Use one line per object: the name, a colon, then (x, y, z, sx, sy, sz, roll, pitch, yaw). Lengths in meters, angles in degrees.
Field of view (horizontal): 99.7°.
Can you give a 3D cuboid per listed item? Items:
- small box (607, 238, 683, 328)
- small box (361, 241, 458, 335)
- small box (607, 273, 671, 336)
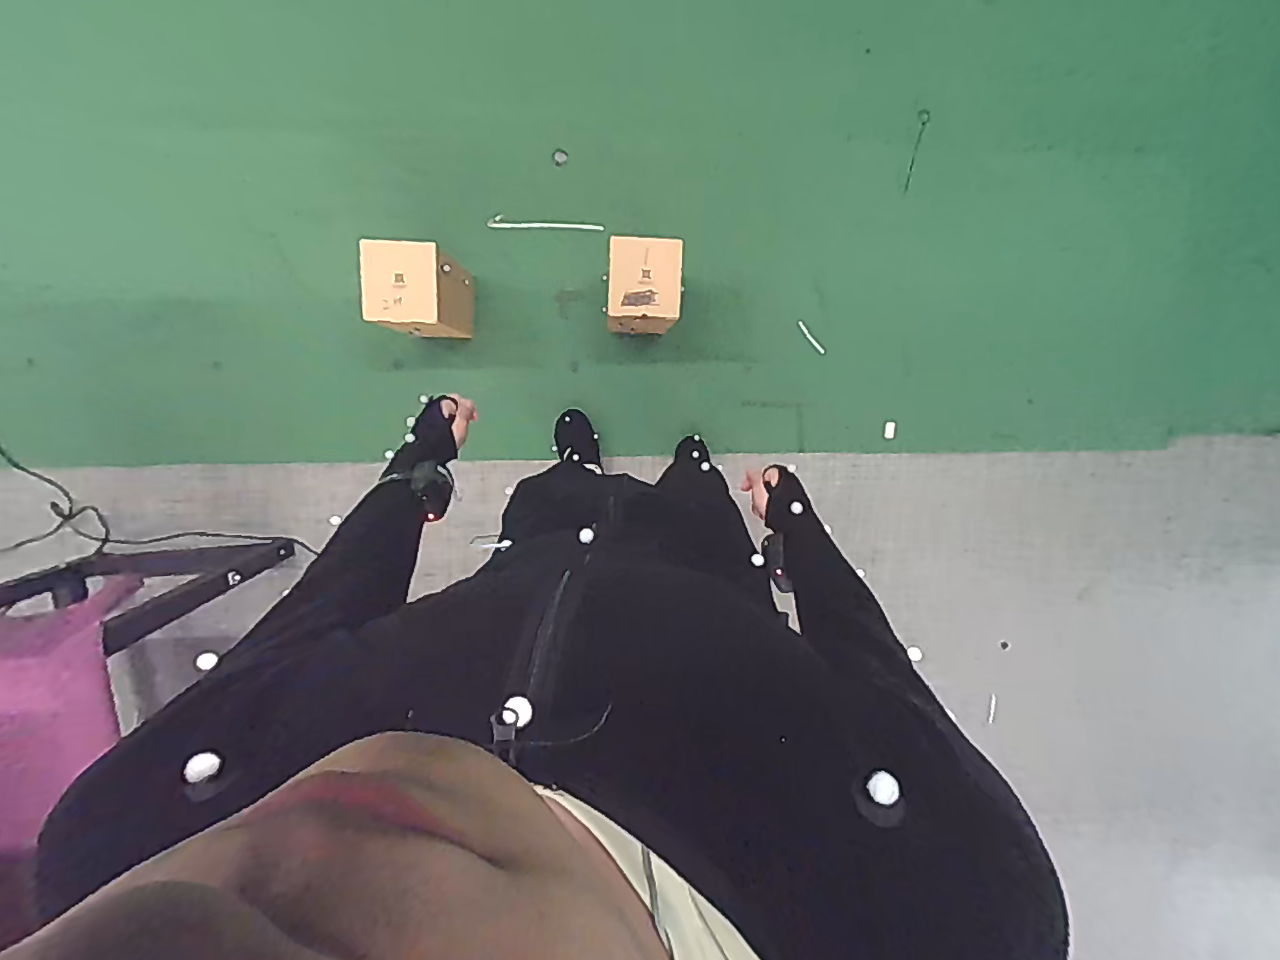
small box: (0.007, -0.463, 1.298, 0.168, 0.176, 0.179, 1, 99, -5)
small box: (-0.534, -0.442, 1.268, 0.168, 0.176, 0.179, 2, 99, -3)
small box: (-0.004, -0.490, 1.459, 0.168, 0.176, 0.179, 0, 100, -4)
